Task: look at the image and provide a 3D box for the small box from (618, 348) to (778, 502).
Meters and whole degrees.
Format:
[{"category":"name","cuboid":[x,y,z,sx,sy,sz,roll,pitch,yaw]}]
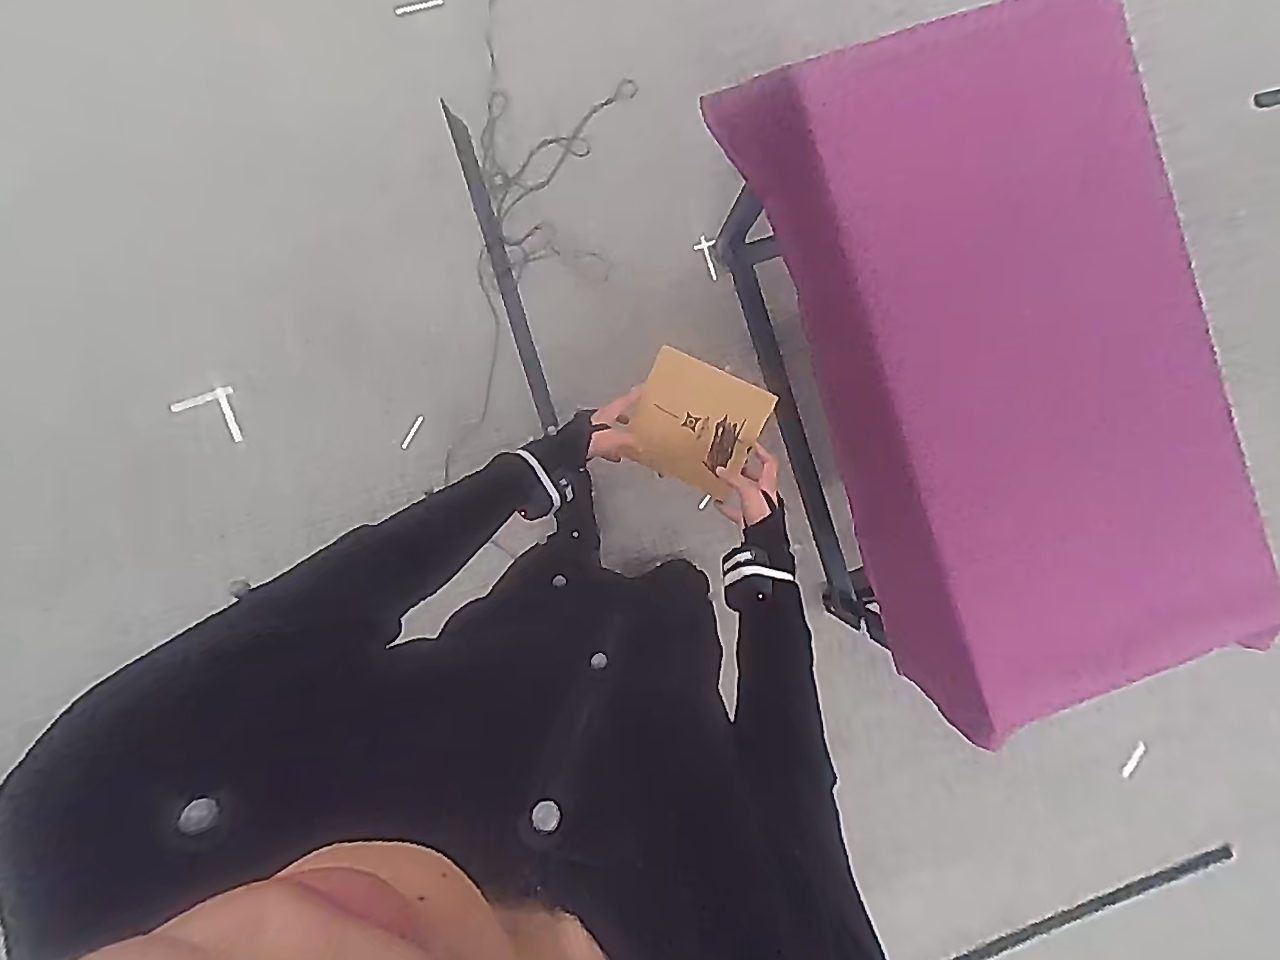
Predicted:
[{"category":"small box","cuboid":[0.082,-0.089,0.830,0.179,0.176,0.168,25,99,-2]}]
